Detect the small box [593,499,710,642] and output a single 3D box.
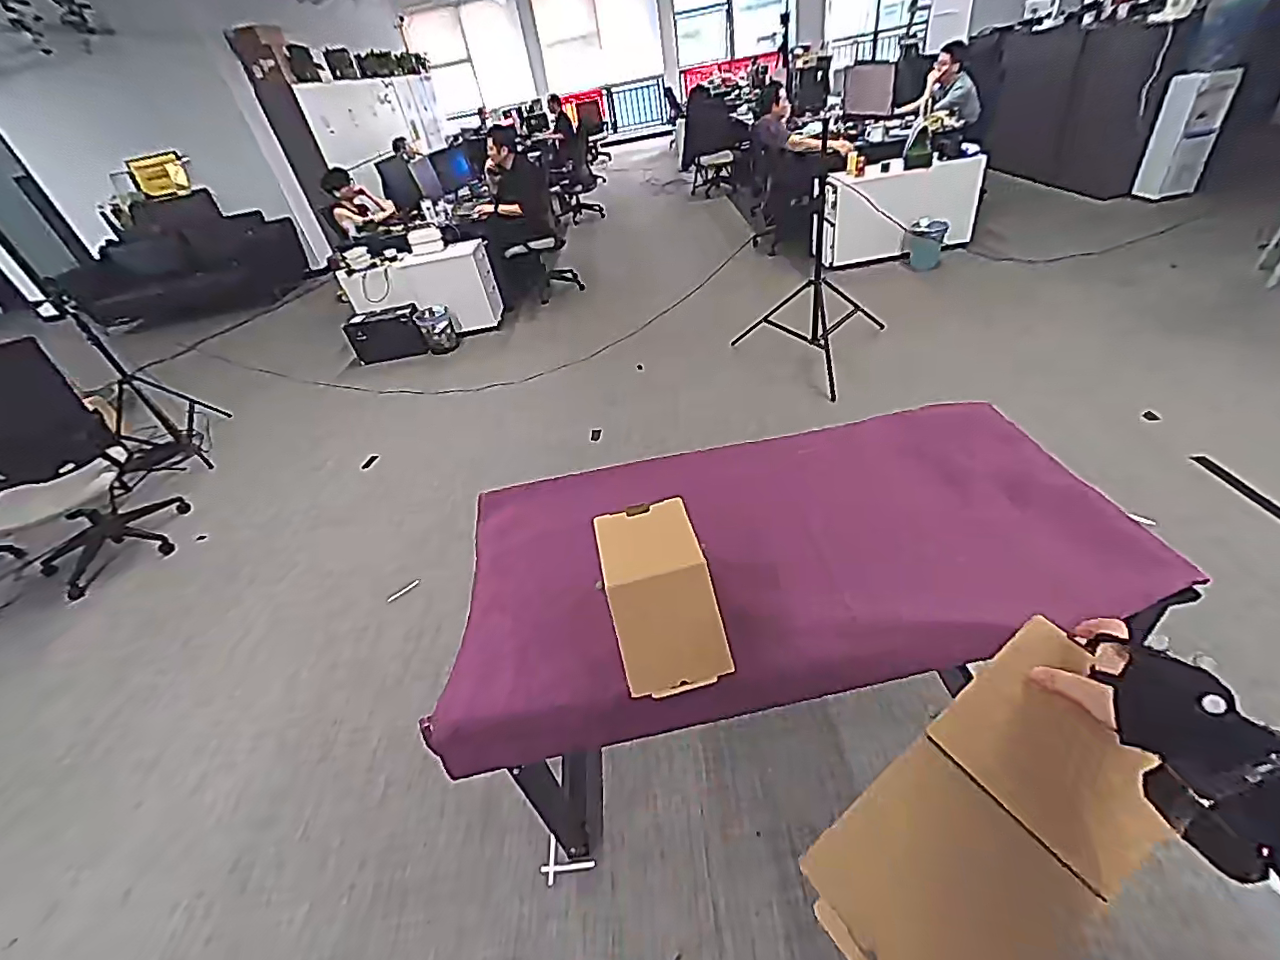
[{"bbox_3d":[0.021,0.166,0.965,0.168,0.176,0.179,-13,36,-3],"label":"small box"}]
